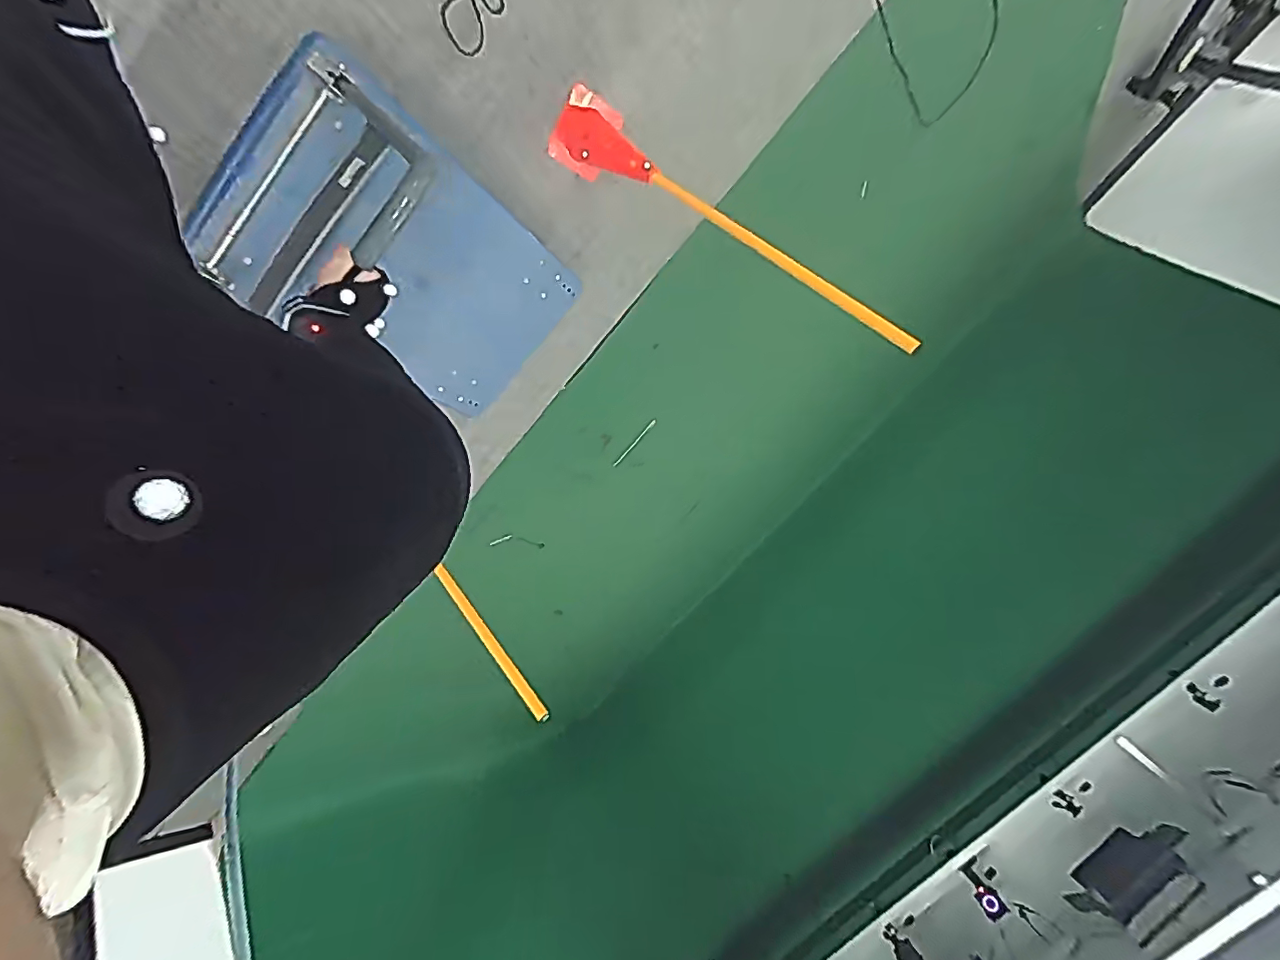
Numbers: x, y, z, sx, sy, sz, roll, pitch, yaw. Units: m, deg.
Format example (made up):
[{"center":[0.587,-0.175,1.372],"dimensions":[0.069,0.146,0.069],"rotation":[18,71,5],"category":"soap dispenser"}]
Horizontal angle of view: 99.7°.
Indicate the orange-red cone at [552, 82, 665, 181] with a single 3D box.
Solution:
[{"center":[-0.051,-0.916,1.502],"dimensions":[0.198,0.360,0.199],"rotation":[3,126,-51],"category":"orange-red cone"}]
